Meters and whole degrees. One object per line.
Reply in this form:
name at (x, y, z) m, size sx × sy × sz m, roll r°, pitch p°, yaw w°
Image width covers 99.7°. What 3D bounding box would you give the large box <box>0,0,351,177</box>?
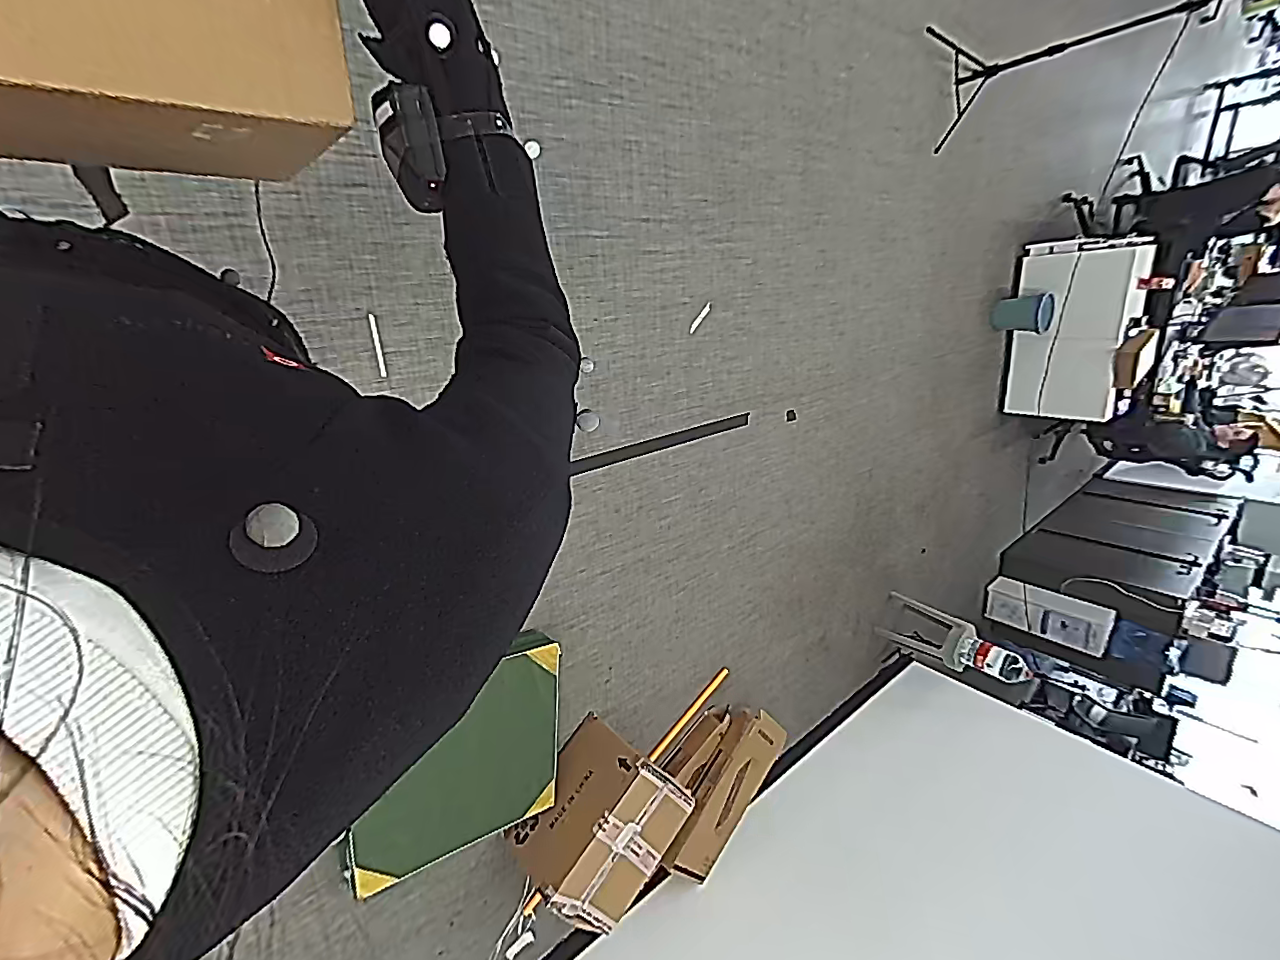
large box at (-0.444, -0.373, 0.303) m, size 0.408 × 0.320 × 0.320 m, roll -17°, pitch 118°, yaw -35°
